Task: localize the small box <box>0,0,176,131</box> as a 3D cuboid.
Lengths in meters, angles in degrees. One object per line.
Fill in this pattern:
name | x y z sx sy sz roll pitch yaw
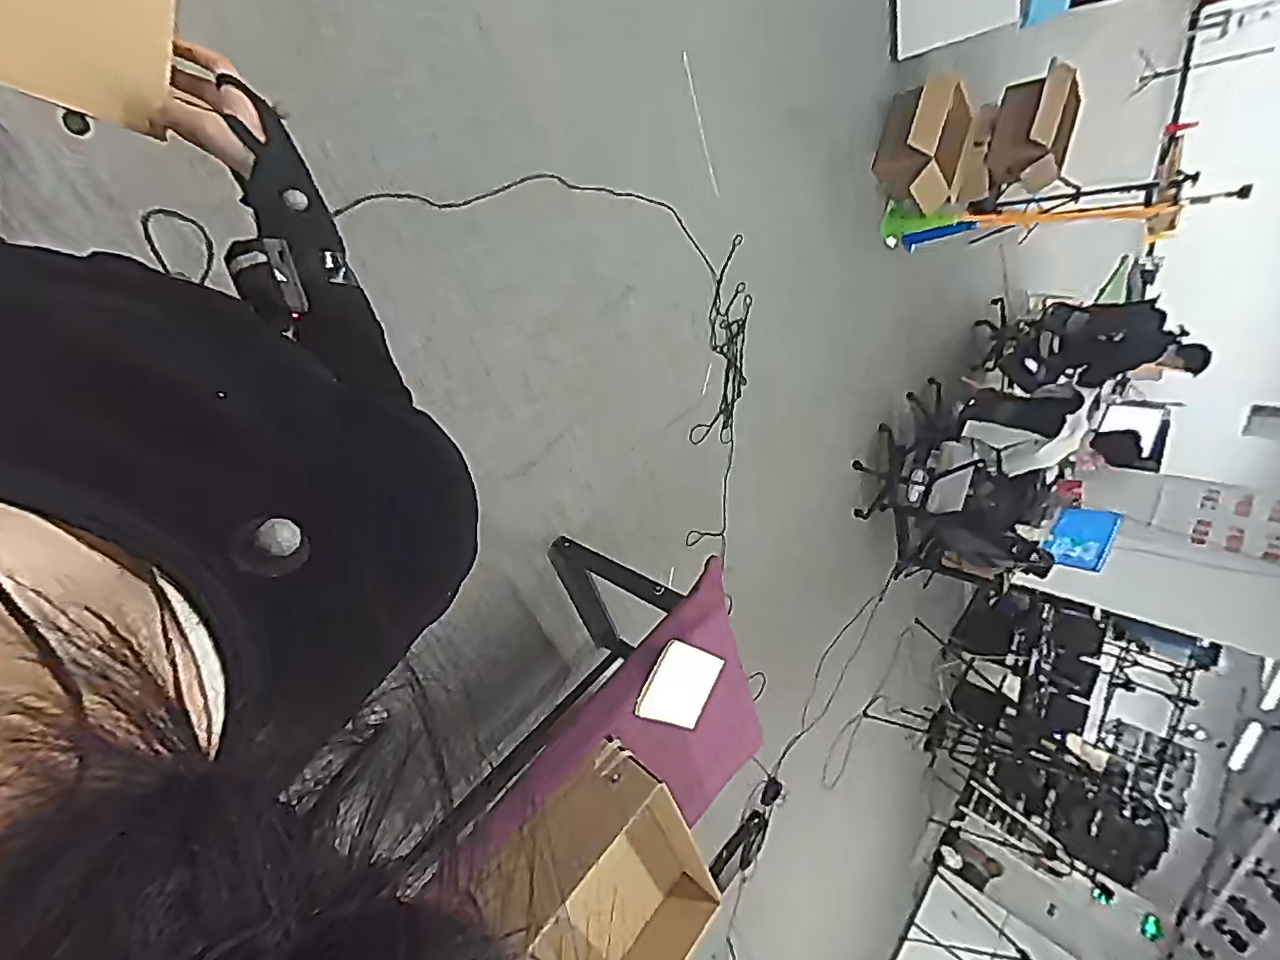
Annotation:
small box | -0.443 -0.374 0.363 0.179 0.176 0.168 -1 119 -51
